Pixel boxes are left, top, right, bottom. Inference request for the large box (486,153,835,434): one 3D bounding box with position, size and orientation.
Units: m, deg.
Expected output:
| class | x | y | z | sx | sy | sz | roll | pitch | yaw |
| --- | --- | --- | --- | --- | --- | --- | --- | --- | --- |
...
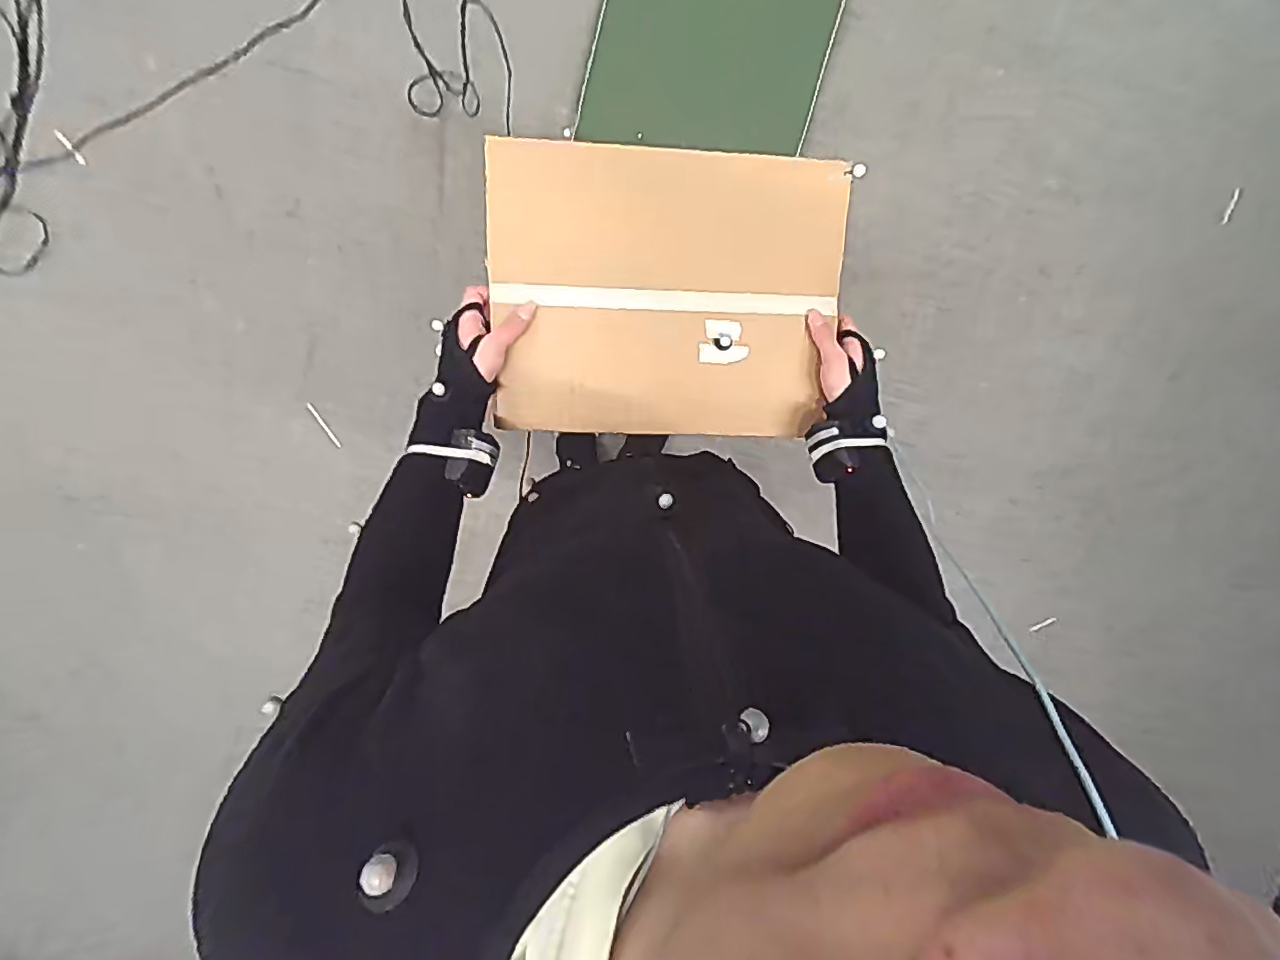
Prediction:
| class | x | y | z | sx | sy | sz | roll | pitch | yaw |
| --- | --- | --- | --- | --- | --- | --- | --- | --- | --- |
| large box | 0.013 | -0.241 | 0.782 | 0.408 | 0.320 | 0.320 | 0 | 103 | -5 |
